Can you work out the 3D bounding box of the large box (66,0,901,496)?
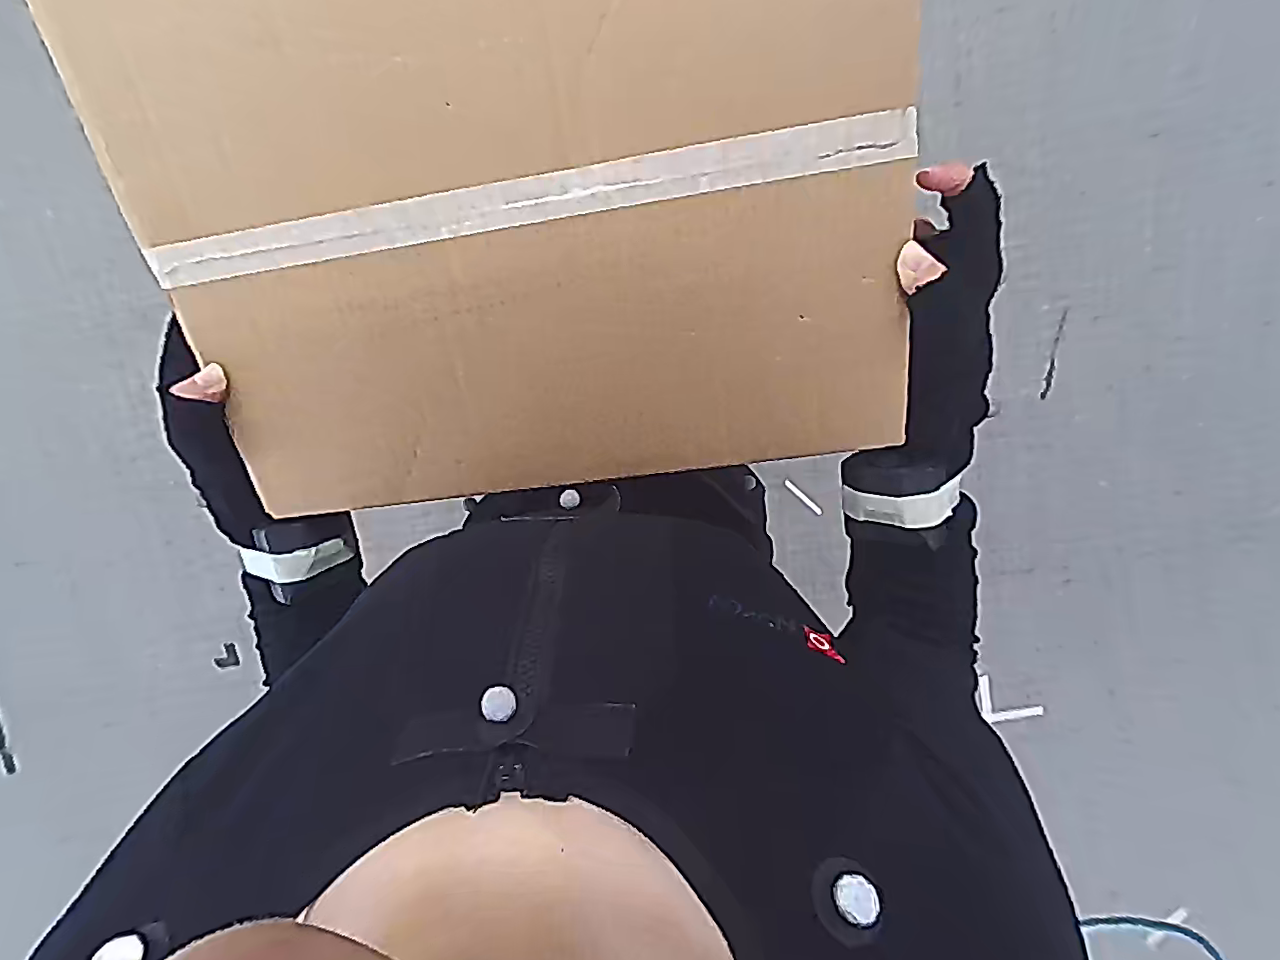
[{"bbox_3d":[-0.062,-0.209,0.425,0.408,0.320,0.320,-7,113,6],"label":"large box"}]
